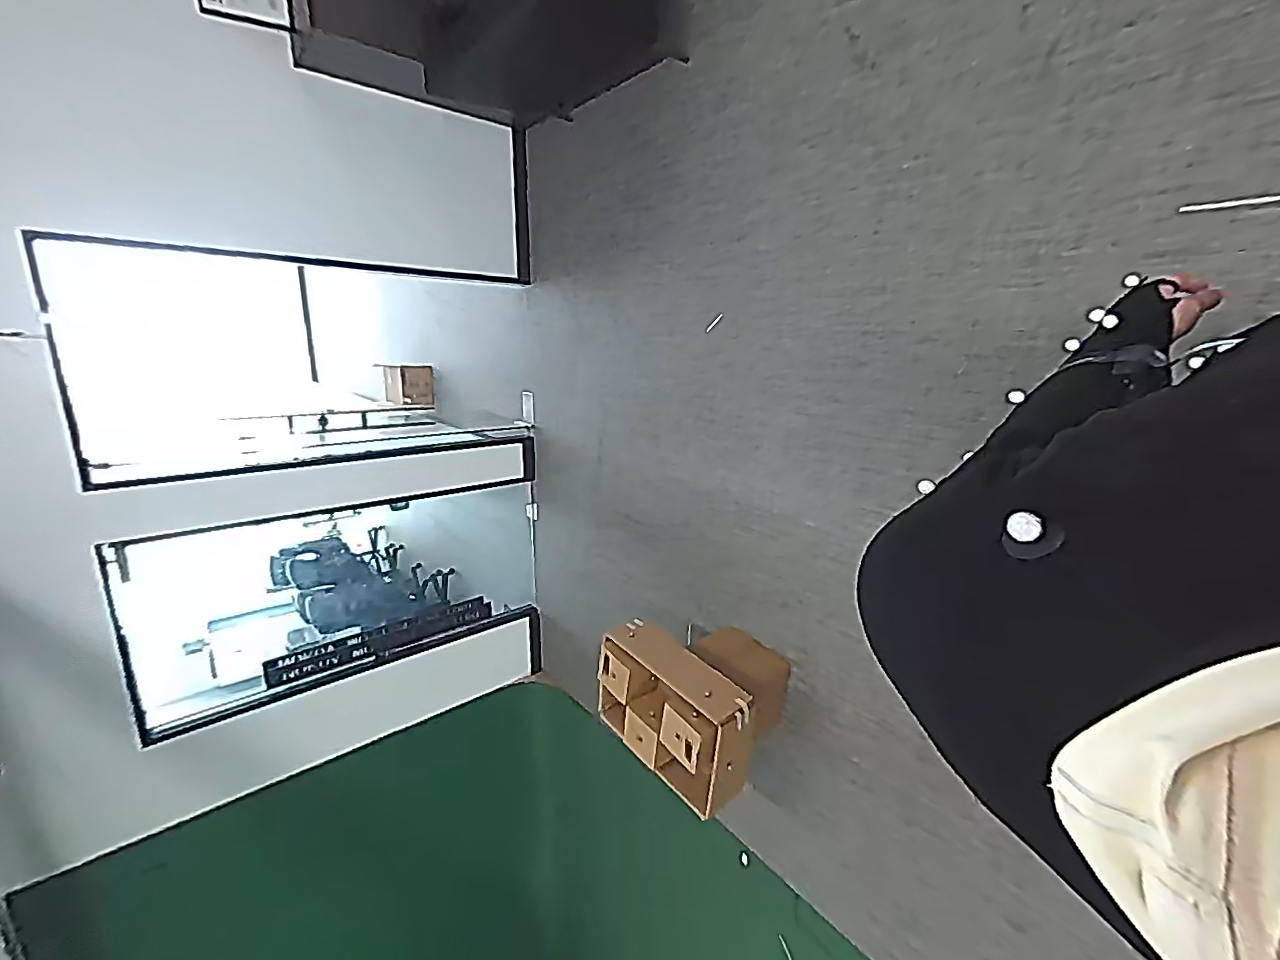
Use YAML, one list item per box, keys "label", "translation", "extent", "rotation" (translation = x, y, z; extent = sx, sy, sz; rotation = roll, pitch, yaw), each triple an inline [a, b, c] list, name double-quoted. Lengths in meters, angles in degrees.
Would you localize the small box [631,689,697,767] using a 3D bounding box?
- label: "small box"
  translation: [0.091, 0.910, 2.007]
  extent: [0.179, 0.176, 0.168]
  rotation: [24, 115, 45]
